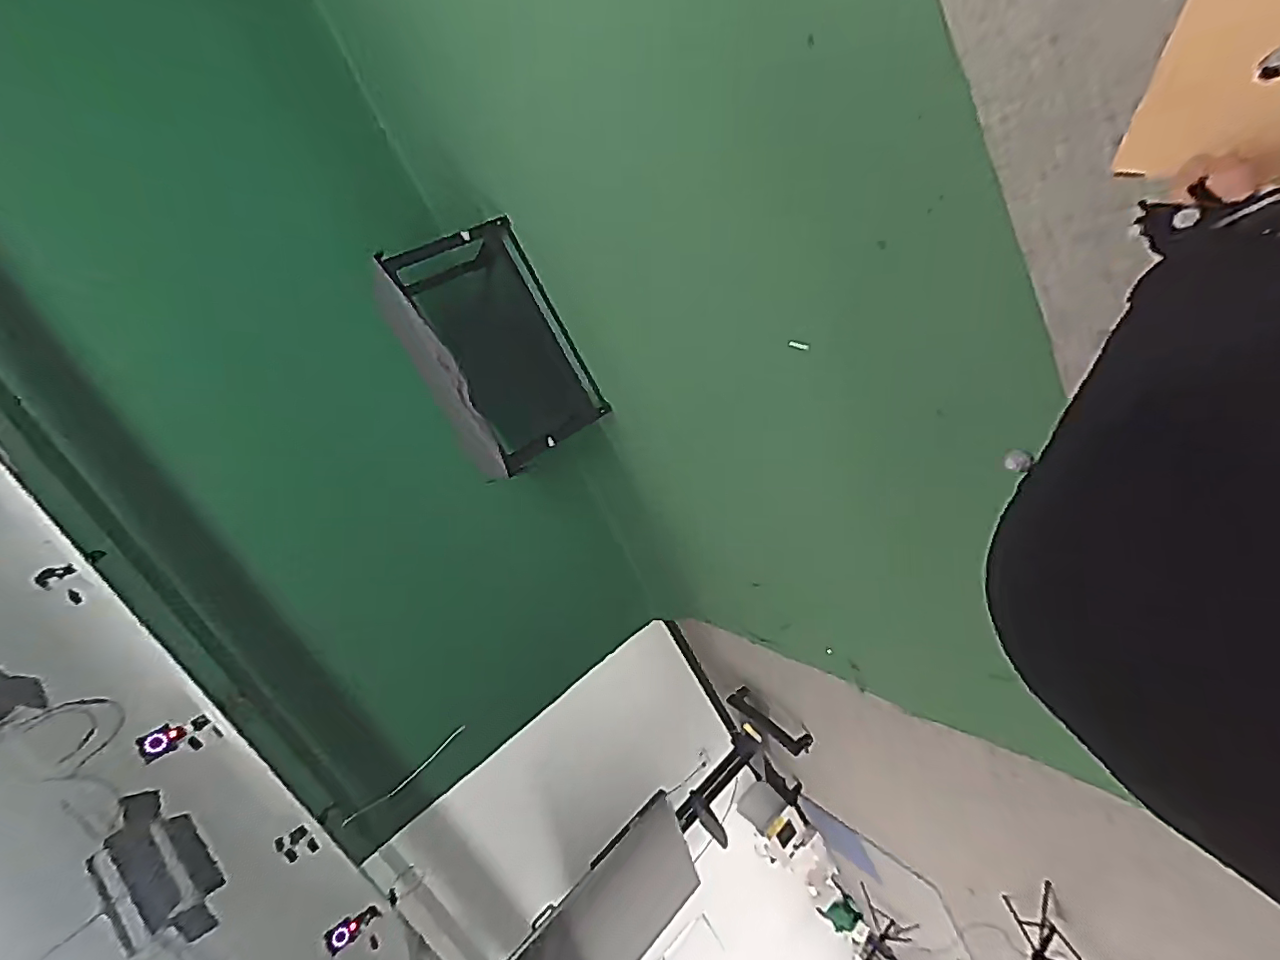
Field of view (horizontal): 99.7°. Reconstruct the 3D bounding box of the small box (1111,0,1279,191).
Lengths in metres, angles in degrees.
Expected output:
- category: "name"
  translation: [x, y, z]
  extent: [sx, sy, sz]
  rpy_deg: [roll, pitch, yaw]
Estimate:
- category: "small box"
  translation: [0.599, -0.373, 0.509]
  extent: [0.168, 0.179, 0.176]
  rpy_deg: [32, 134, 38]
